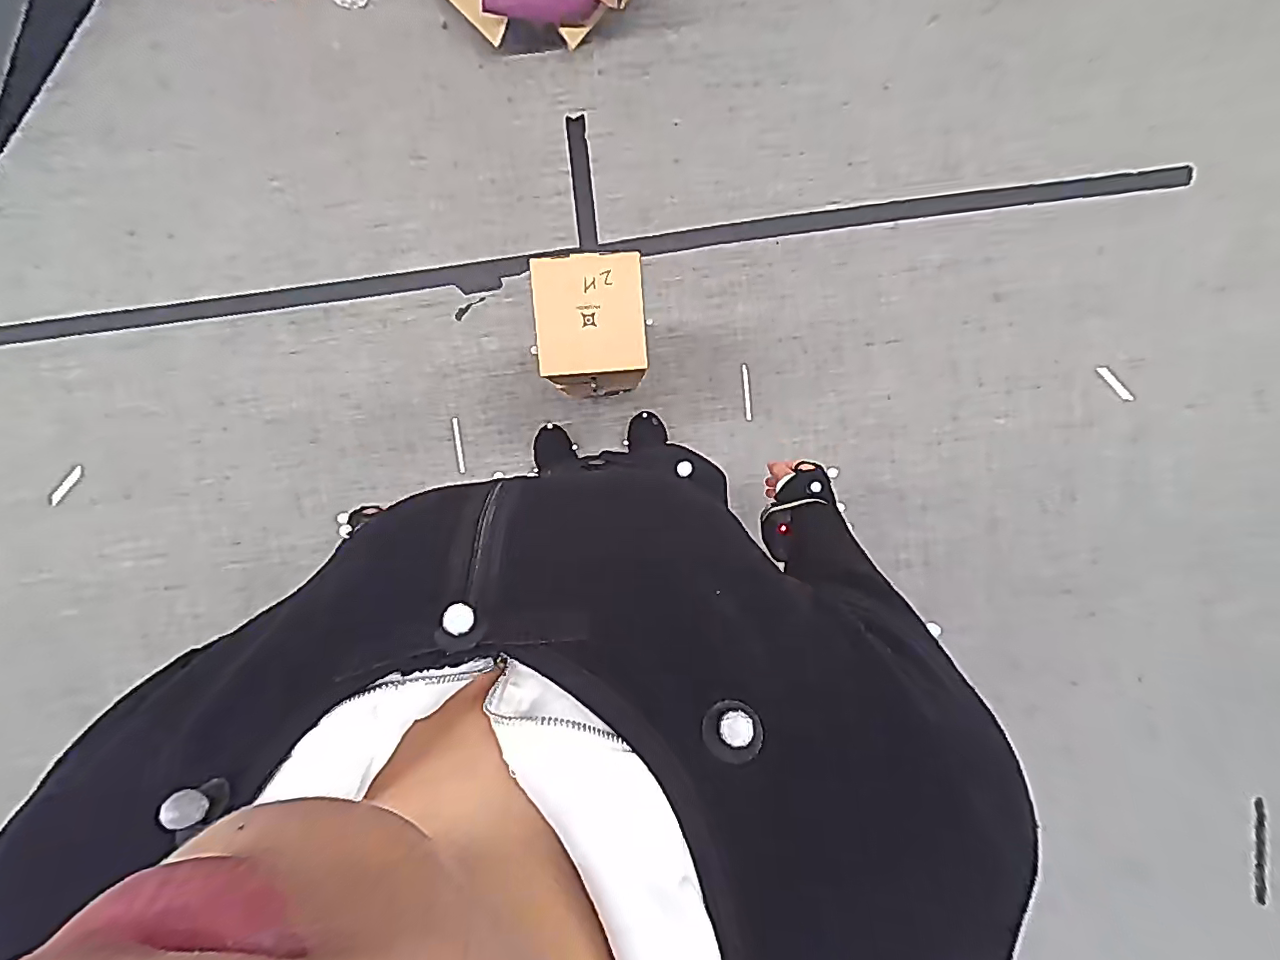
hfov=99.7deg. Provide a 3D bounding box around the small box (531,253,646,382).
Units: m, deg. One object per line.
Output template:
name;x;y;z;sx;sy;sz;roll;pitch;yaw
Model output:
small box;-0.077;-0.256;0.891;0.168;0.176;0.179;-4;95;-1

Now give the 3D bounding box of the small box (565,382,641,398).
small box;-0.091;-0.287;1.219;0.168;0.176;0.179;-9;95;0

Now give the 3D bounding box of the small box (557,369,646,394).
small box;-0.084;-0.271;1.055;0.168;0.176;0.179;-9;96;0
